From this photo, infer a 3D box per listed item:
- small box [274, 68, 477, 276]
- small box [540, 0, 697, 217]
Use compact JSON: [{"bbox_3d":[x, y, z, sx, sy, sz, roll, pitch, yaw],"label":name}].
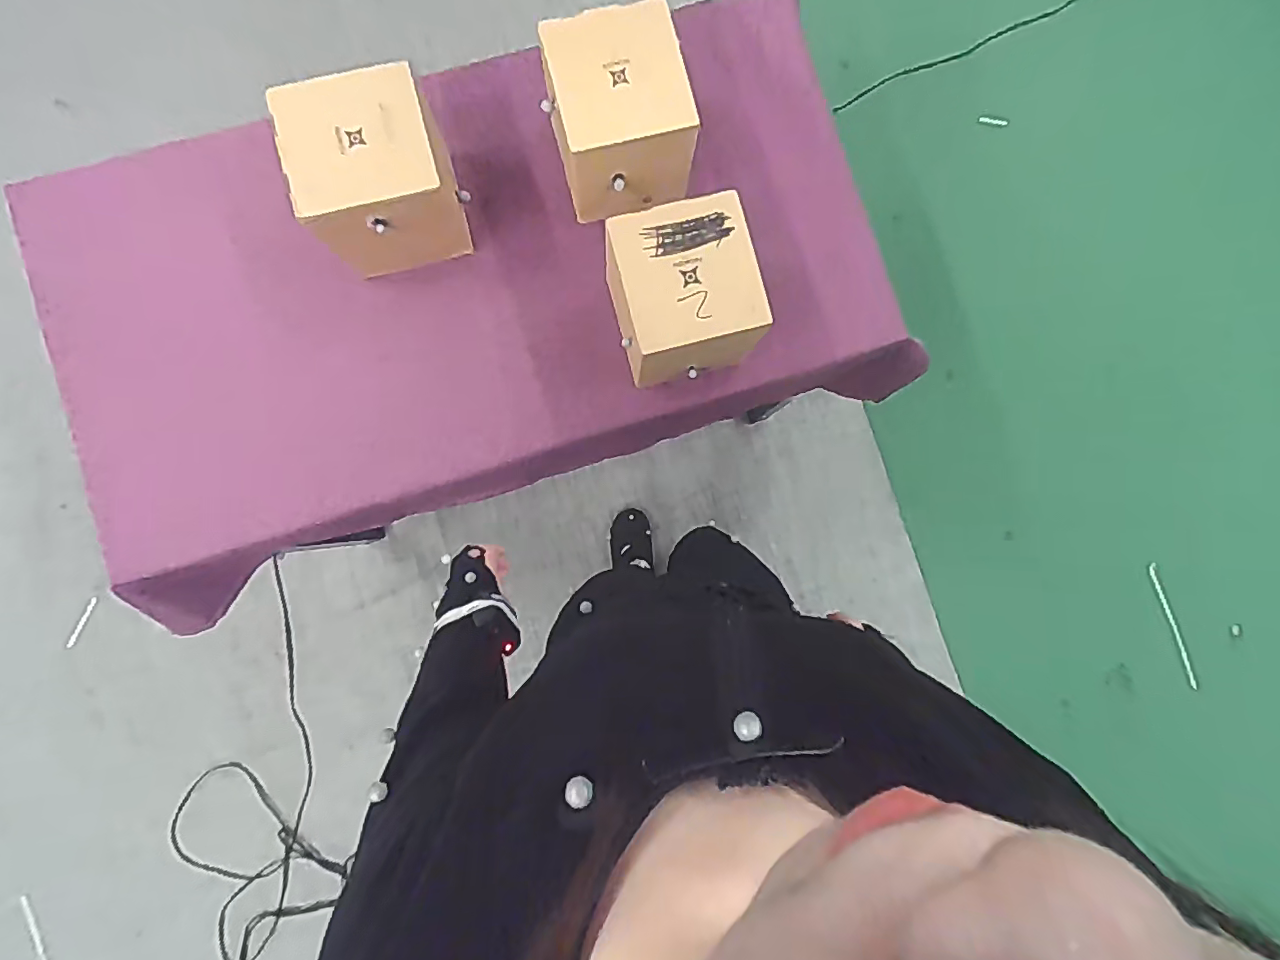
[{"bbox_3d":[-0.342,-0.398,0.729,0.179,0.176,0.168,-14,87,-4],"label":"small box"},{"bbox_3d":[-0.027,-0.490,0.745,0.168,0.176,0.179,-14,86,-2],"label":"small box"}]
